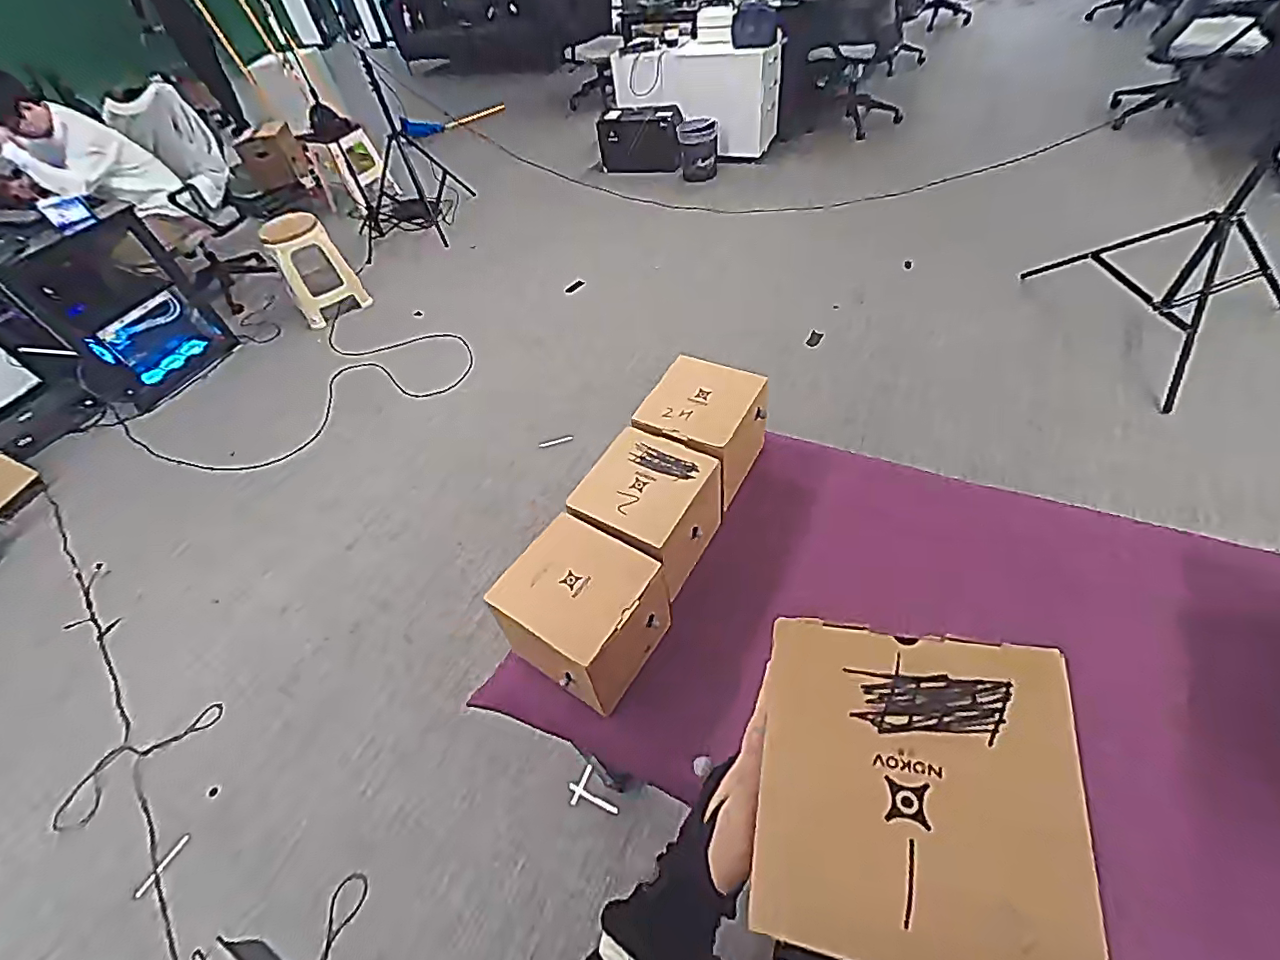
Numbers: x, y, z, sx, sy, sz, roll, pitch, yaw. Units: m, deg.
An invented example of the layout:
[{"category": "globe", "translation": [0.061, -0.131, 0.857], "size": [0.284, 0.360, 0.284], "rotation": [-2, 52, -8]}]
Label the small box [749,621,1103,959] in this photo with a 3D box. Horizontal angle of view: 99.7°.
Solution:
[{"category": "small box", "translation": [0.176, 0.216, 0.373], "size": [0.168, 0.176, 0.179], "rotation": [2, 61, 21]}]

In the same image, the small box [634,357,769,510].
[{"category": "small box", "translation": [0.109, -0.080, 0.941], "size": [0.168, 0.176, 0.179], "rotation": [21, 57, 24]}]
